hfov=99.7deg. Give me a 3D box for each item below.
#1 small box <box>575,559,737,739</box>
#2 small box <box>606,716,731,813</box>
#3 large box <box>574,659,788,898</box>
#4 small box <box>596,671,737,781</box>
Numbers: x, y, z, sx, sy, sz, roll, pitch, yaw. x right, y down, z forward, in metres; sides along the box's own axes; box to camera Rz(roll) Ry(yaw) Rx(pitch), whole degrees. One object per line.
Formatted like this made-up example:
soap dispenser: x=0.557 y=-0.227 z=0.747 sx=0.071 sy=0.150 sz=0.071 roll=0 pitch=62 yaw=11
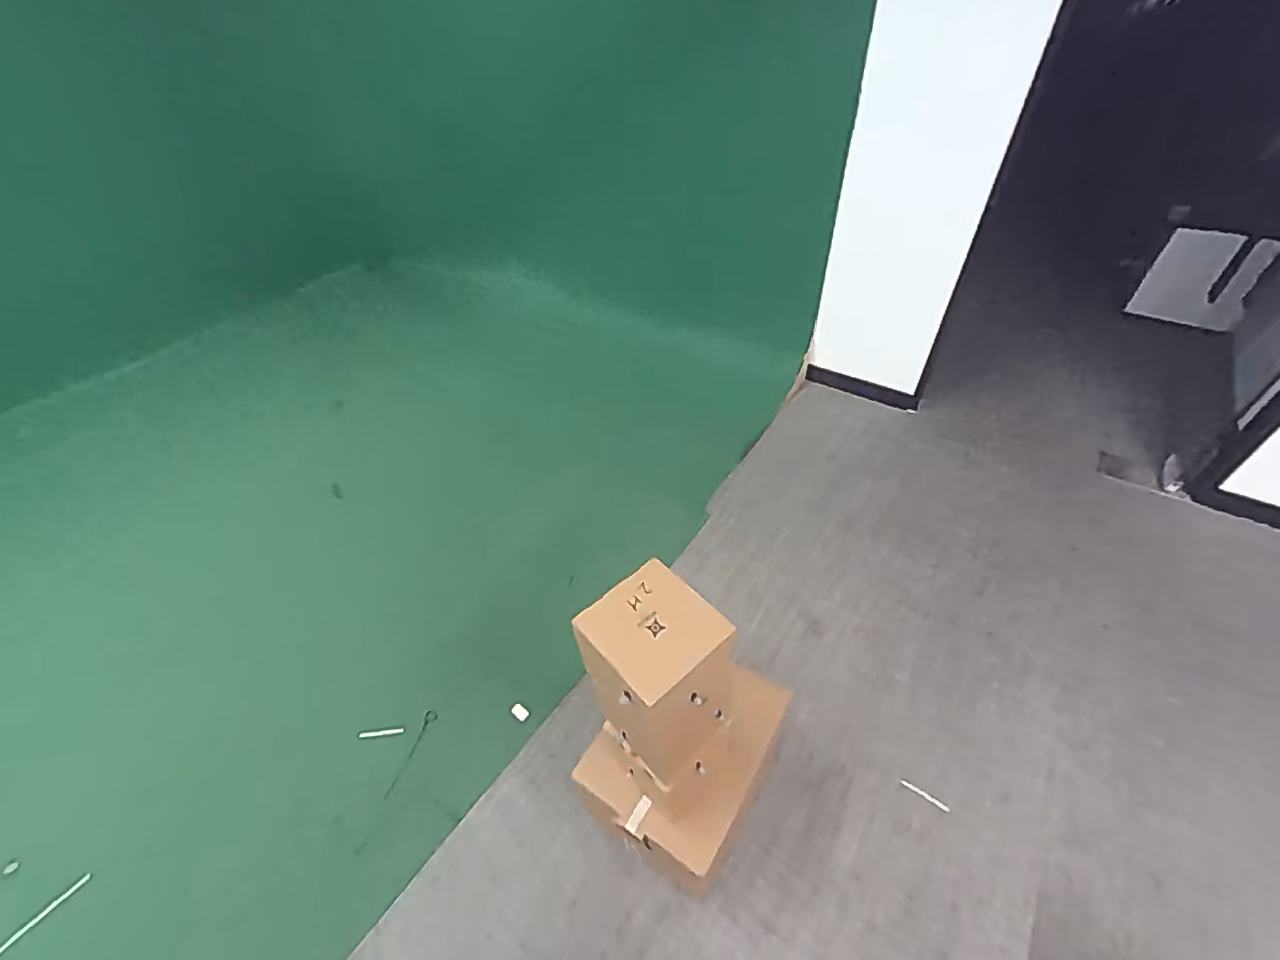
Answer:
small box: x=0.026 y=0.263 z=0.825 sx=0.168 sy=0.176 sz=0.179 roll=-33 pitch=51 yaw=-25
small box: x=0.055 y=0.499 z=1.050 sx=0.179 sy=0.176 sz=0.168 roll=-37 pitch=53 yaw=-27
large box: x=0.103 y=0.638 z=1.249 sx=0.320 sy=0.320 sz=0.408 roll=25 pitch=52 yaw=25
small box: x=0.047 y=0.378 z=0.940 sx=0.179 sy=0.176 sz=0.168 roll=-35 pitch=52 yaw=-24
